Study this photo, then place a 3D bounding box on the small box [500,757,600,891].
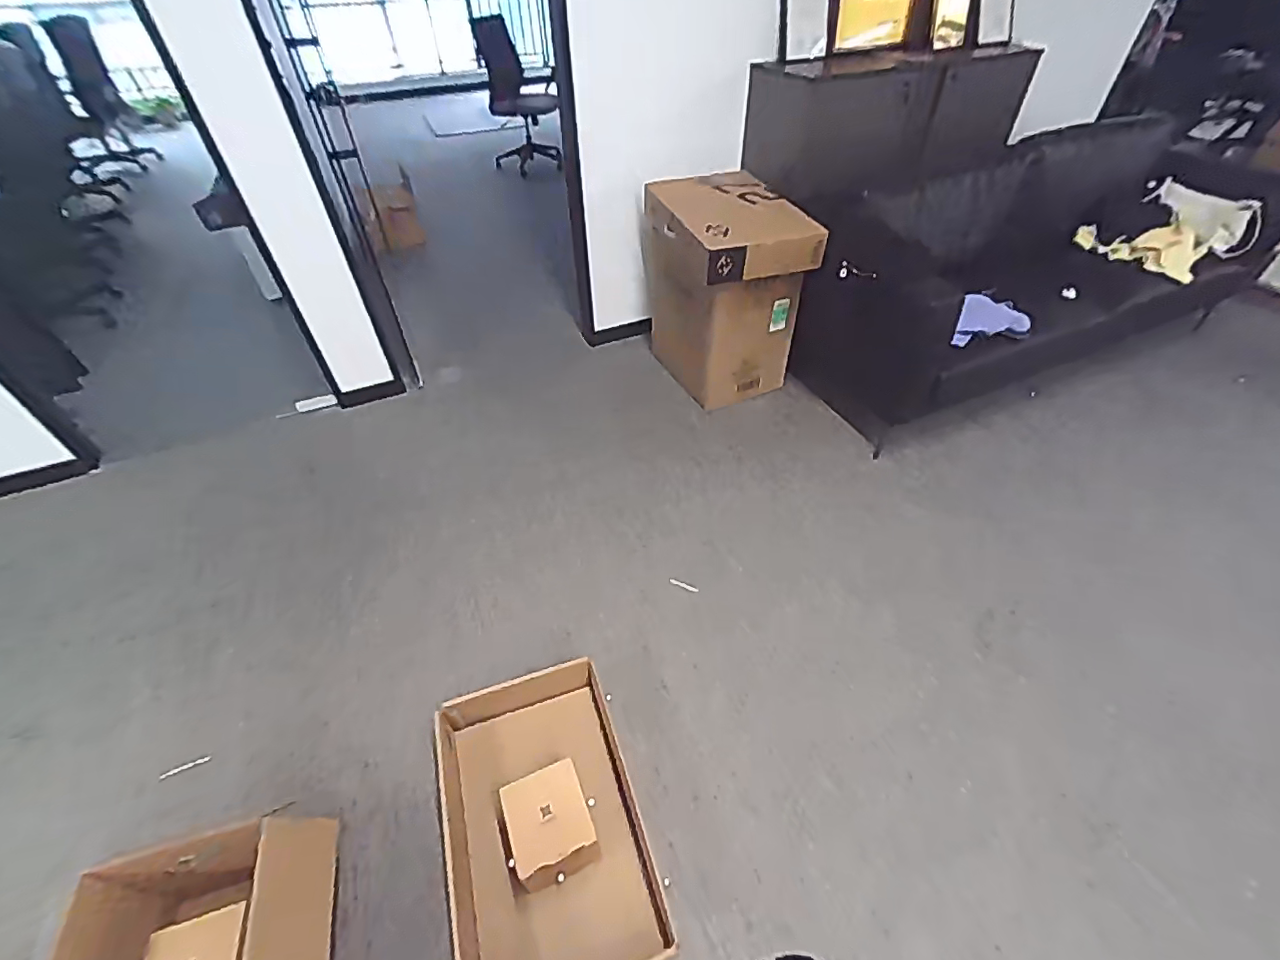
[{"bbox_3d":[-0.193,0.748,1.176,0.168,0.176,0.179,-18,47,-17],"label":"small box"}]
